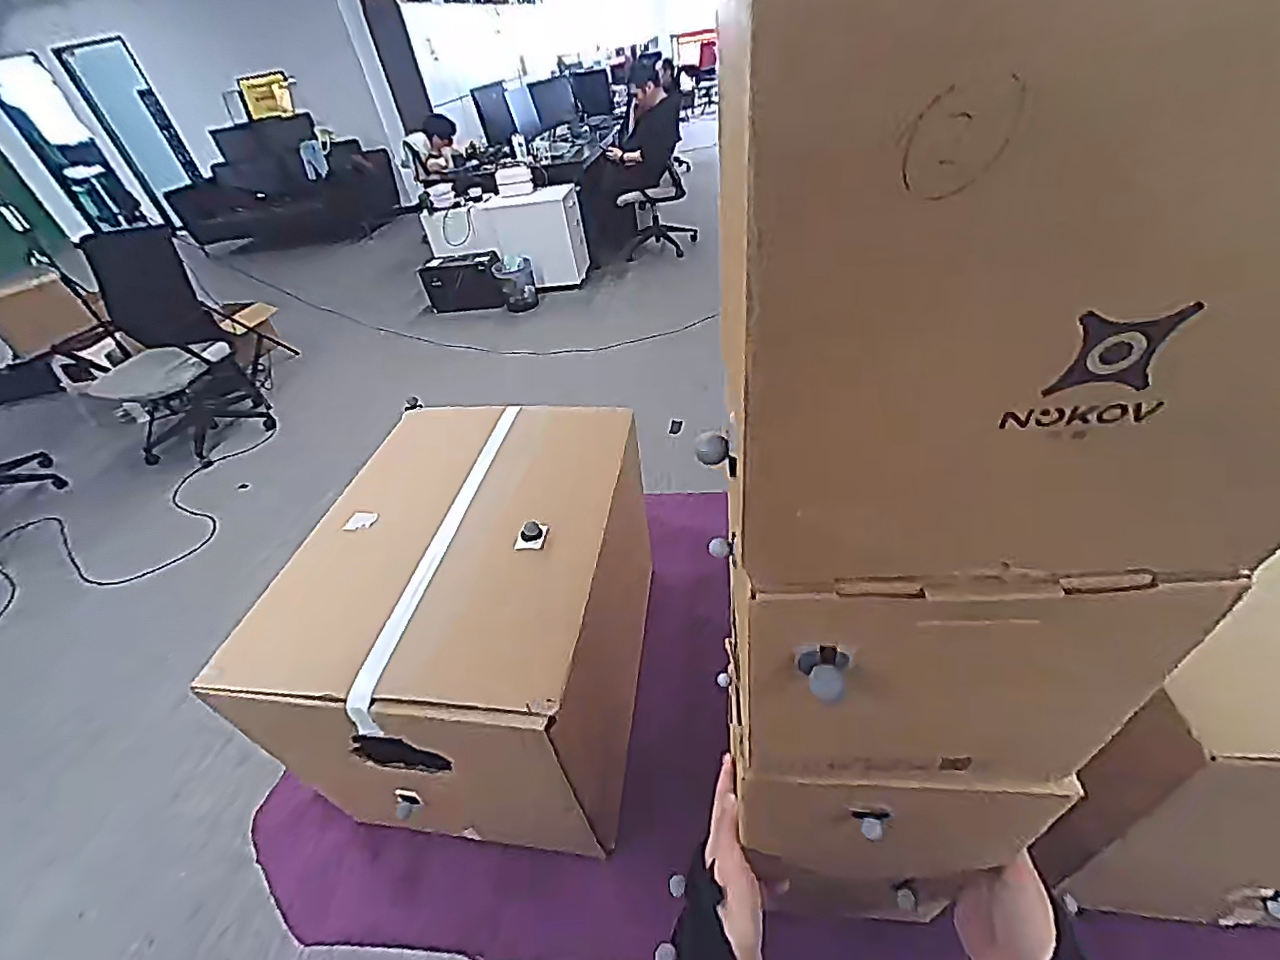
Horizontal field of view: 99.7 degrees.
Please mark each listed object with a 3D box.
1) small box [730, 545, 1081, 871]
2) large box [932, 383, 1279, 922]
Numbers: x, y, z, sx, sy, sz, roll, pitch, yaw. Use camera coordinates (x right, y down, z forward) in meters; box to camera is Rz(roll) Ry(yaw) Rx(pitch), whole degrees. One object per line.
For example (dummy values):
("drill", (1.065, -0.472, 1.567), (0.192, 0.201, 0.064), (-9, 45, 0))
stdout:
("small box", (0.159, 0.166, 0.398), (0.179, 0.176, 0.168), (-2, 41, 8))
("large box", (0.520, 0.146, 0.529), (0.320, 0.320, 0.408), (-1, 39, 10))
